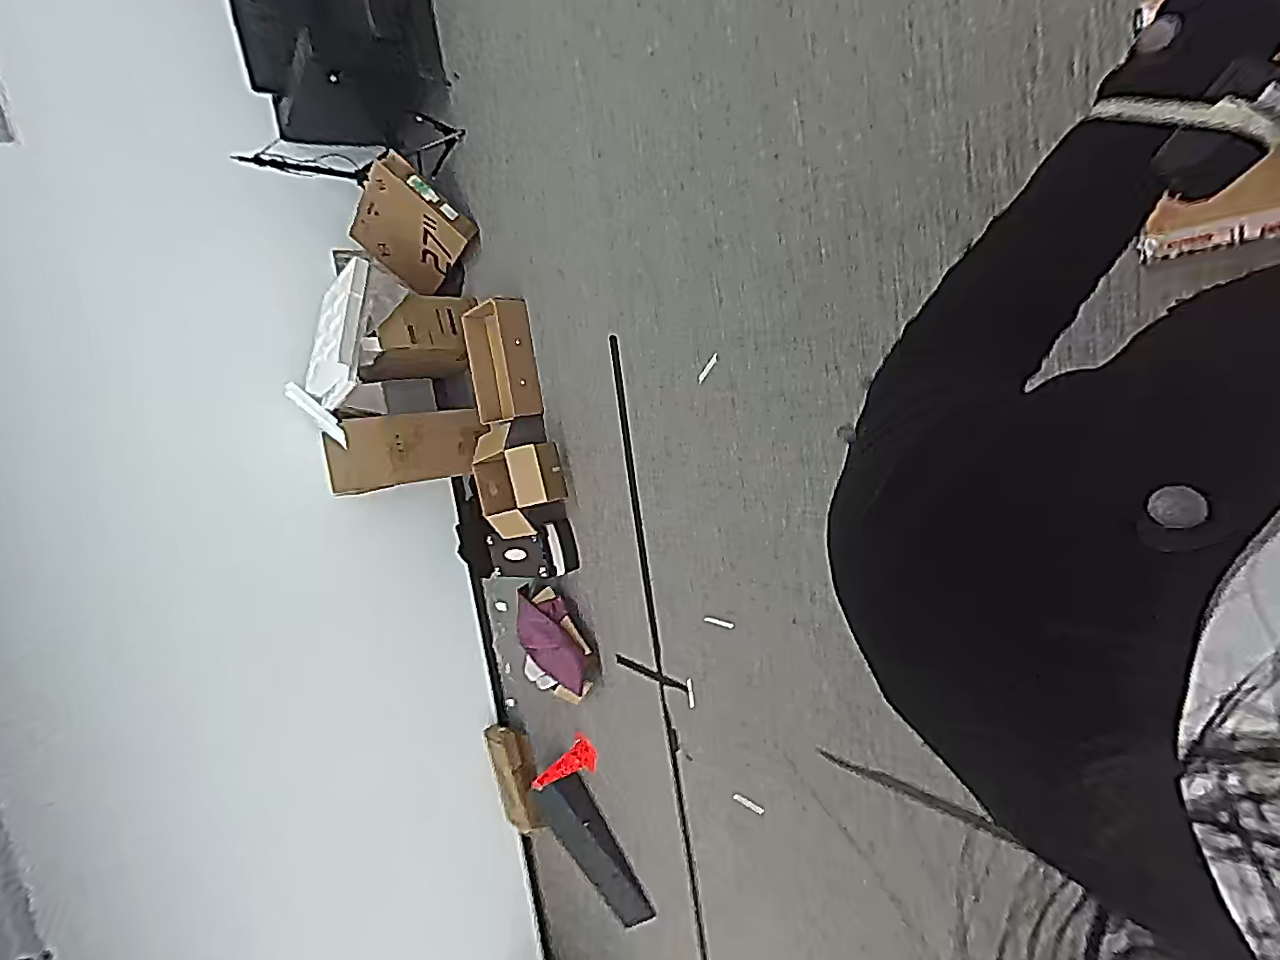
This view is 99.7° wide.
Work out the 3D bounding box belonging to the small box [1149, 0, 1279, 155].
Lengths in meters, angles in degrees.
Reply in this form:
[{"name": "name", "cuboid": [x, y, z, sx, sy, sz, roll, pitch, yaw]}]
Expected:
[{"name": "small box", "cuboid": [0.673, -0.468, 0.573, 0.168, 0.176, 0.179, 7, 108, 51]}]
